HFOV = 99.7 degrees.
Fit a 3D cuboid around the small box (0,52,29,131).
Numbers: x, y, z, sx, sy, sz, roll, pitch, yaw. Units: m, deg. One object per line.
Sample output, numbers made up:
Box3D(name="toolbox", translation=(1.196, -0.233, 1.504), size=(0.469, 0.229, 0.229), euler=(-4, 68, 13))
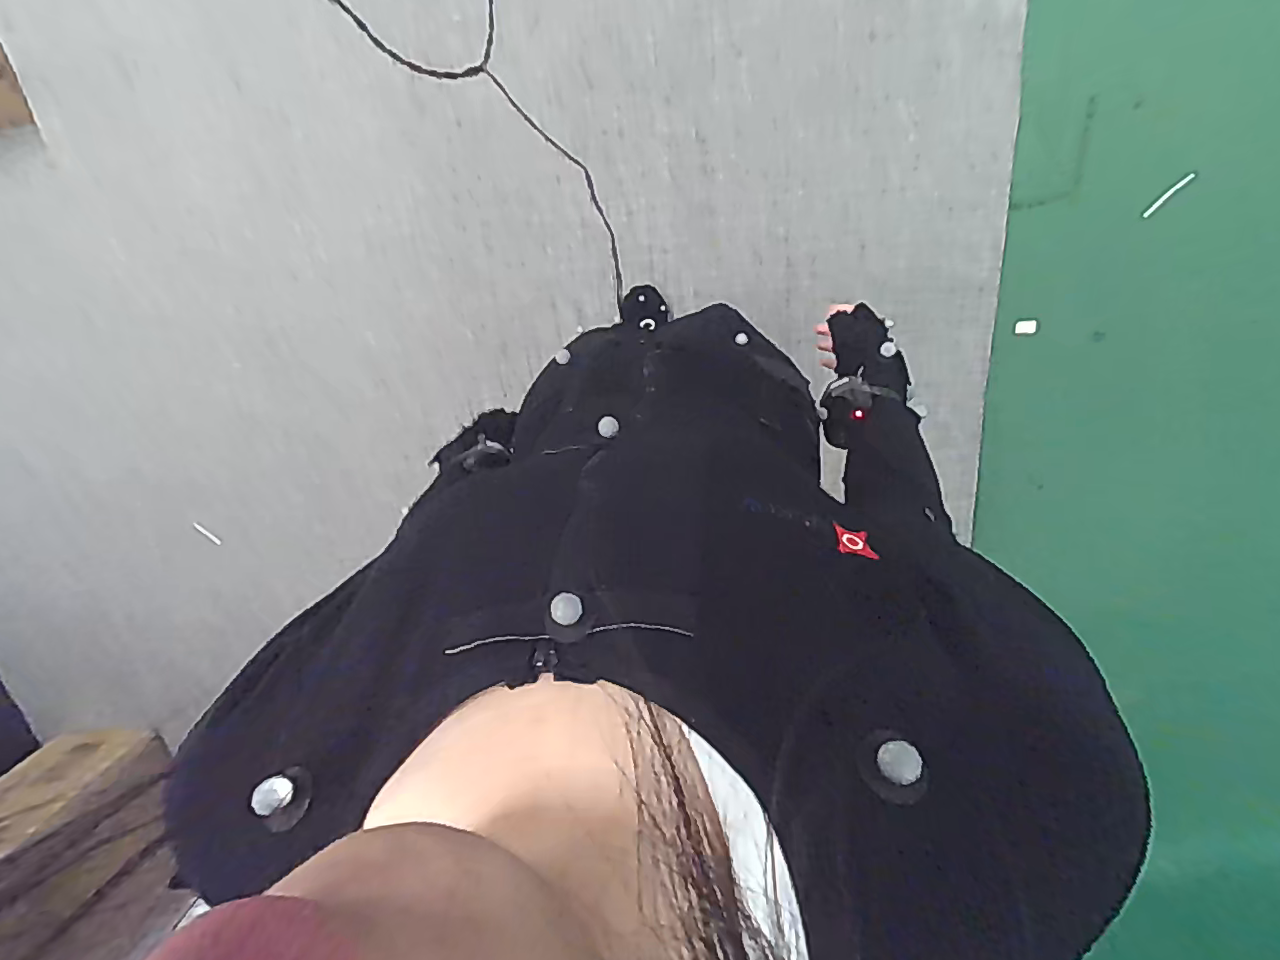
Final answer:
Box3D(name="small box", translation=(-1.575, -0.899, 1.220), size=(0.179, 0.176, 0.168), euler=(-6, 110, 6))
